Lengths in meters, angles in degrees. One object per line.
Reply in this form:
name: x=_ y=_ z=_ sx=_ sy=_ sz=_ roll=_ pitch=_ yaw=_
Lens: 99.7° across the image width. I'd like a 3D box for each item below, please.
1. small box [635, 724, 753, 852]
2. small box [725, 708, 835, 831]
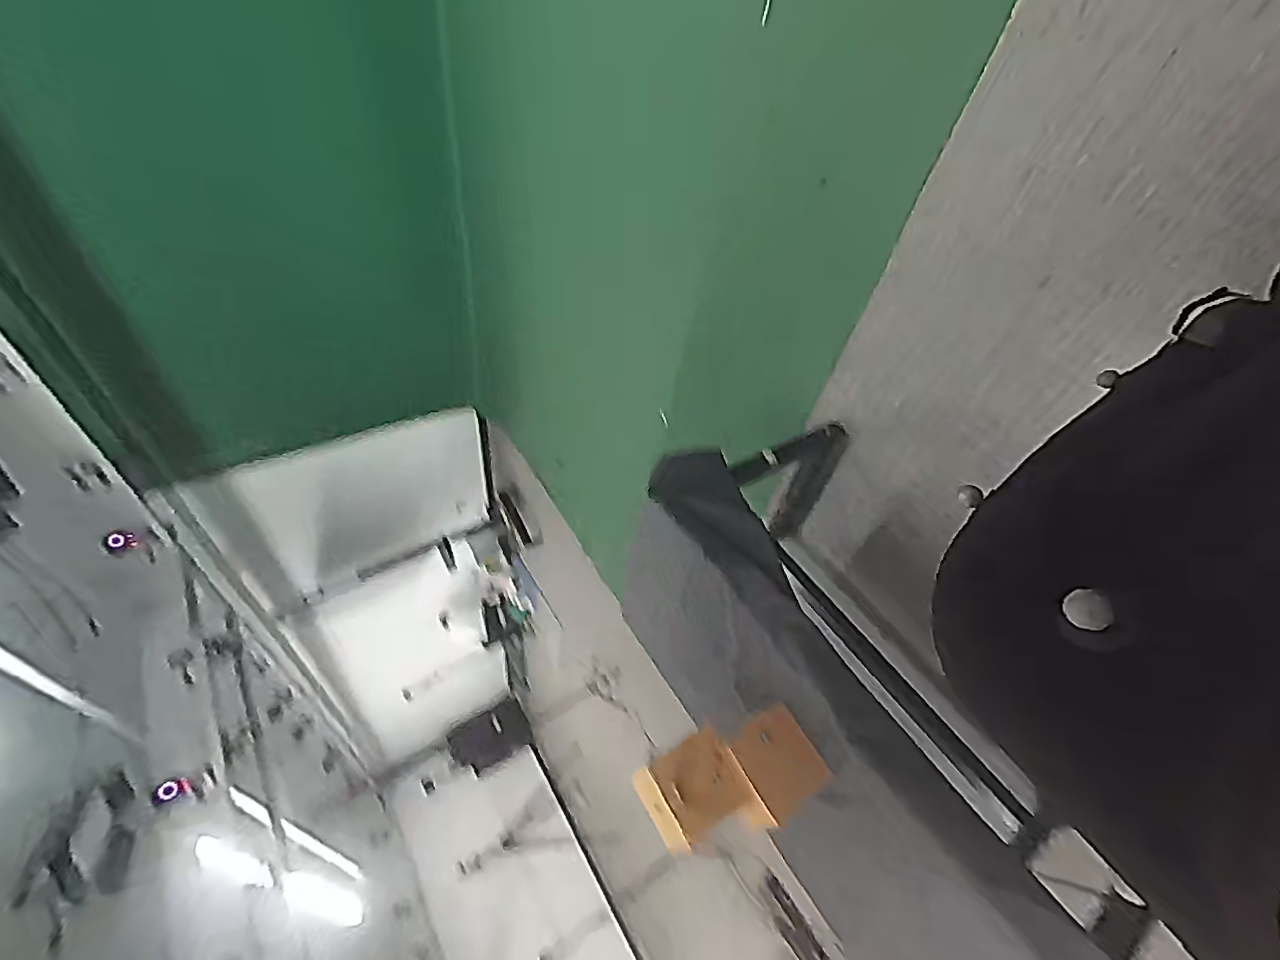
small box: x=0.113 y=0.651 z=1.146 sx=0.168 sy=0.176 sz=0.179 roll=54 pitch=150 yaw=27
small box: x=0.280 y=0.620 z=1.173 sx=0.179 sy=0.176 sz=0.168 roll=54 pitch=151 yaw=25
